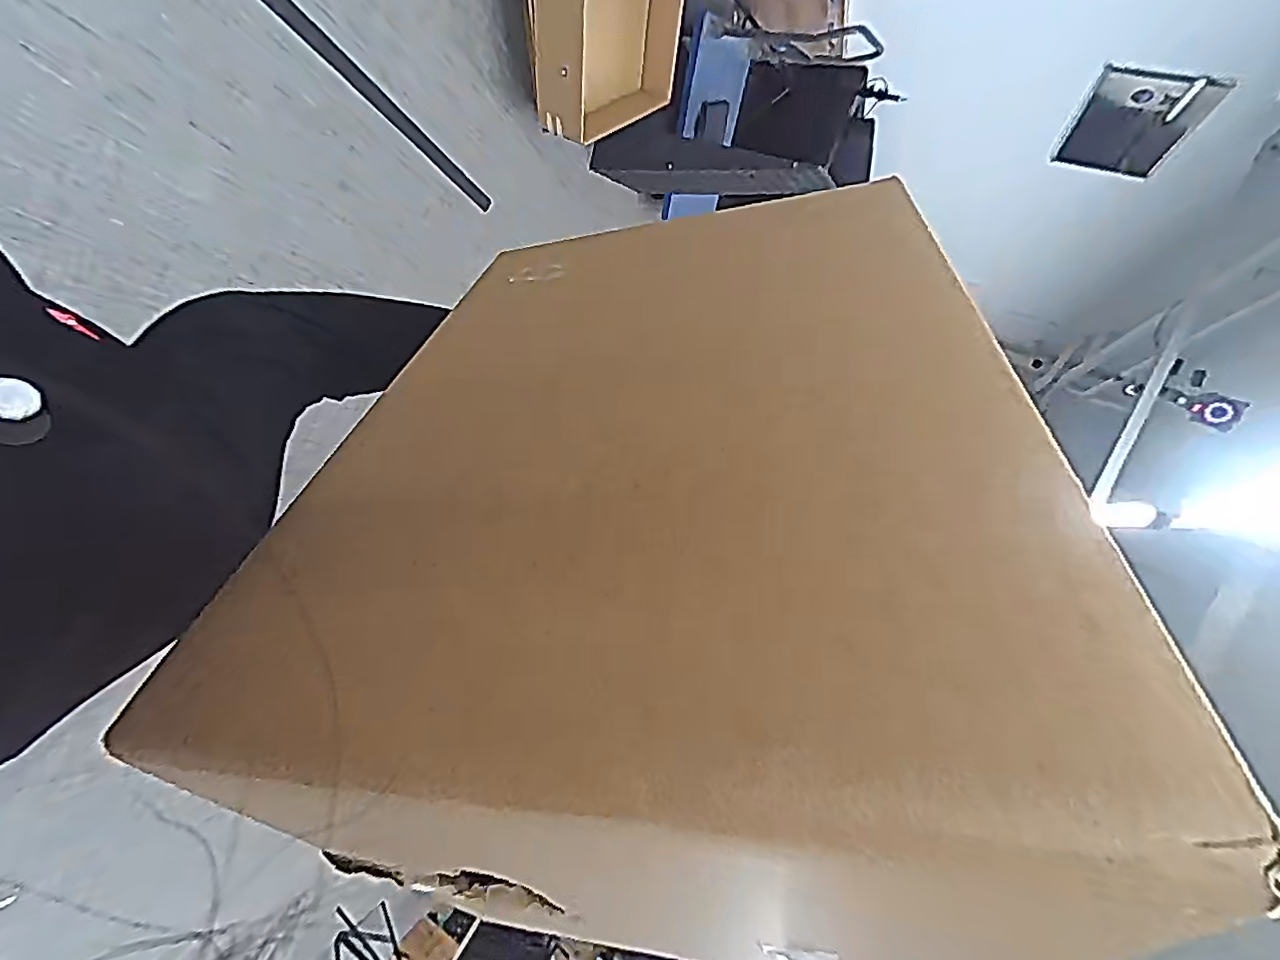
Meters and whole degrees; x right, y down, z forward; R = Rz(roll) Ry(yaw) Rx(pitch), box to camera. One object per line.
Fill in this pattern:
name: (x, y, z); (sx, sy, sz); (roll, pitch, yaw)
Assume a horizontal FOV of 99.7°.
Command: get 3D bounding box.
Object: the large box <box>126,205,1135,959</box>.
large box: (0.029, 0.051, 0.382); (0.408, 0.320, 0.320); (-76, 158, -45)
